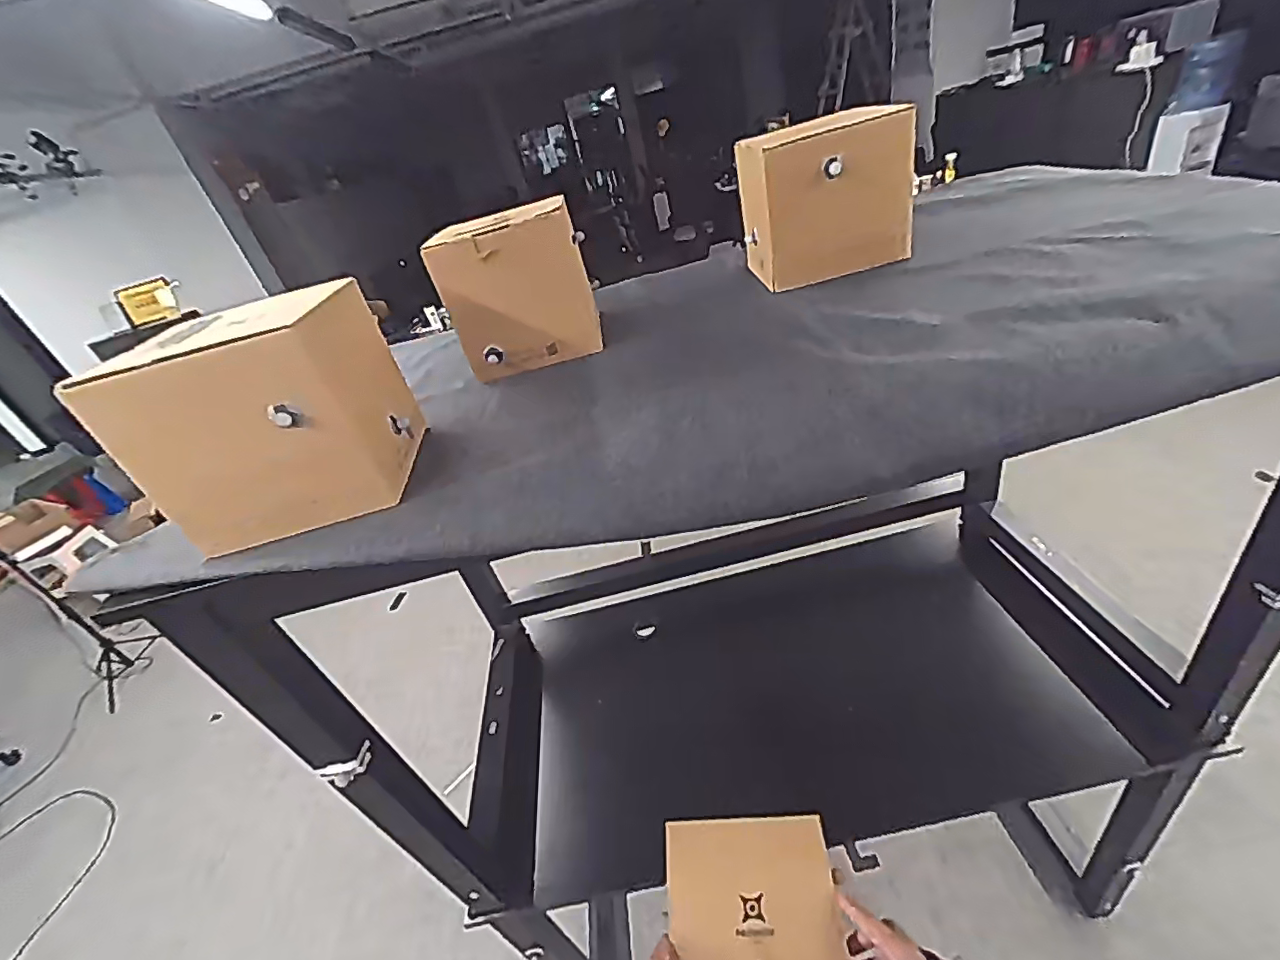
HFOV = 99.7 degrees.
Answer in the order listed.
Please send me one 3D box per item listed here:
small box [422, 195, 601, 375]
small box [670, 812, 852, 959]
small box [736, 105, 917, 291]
[{"bbox_3d":[-0.151,-0.251,0.705,0.168,0.176,0.179,-15,32,3],"label":"small box"},{"bbox_3d":[0.122,0.475,0.564,0.168,0.176,0.179,-7,40,7],"label":"small box"},{"bbox_3d":[0.236,-0.368,0.708,0.179,0.176,0.168,-14,33,6],"label":"small box"}]
